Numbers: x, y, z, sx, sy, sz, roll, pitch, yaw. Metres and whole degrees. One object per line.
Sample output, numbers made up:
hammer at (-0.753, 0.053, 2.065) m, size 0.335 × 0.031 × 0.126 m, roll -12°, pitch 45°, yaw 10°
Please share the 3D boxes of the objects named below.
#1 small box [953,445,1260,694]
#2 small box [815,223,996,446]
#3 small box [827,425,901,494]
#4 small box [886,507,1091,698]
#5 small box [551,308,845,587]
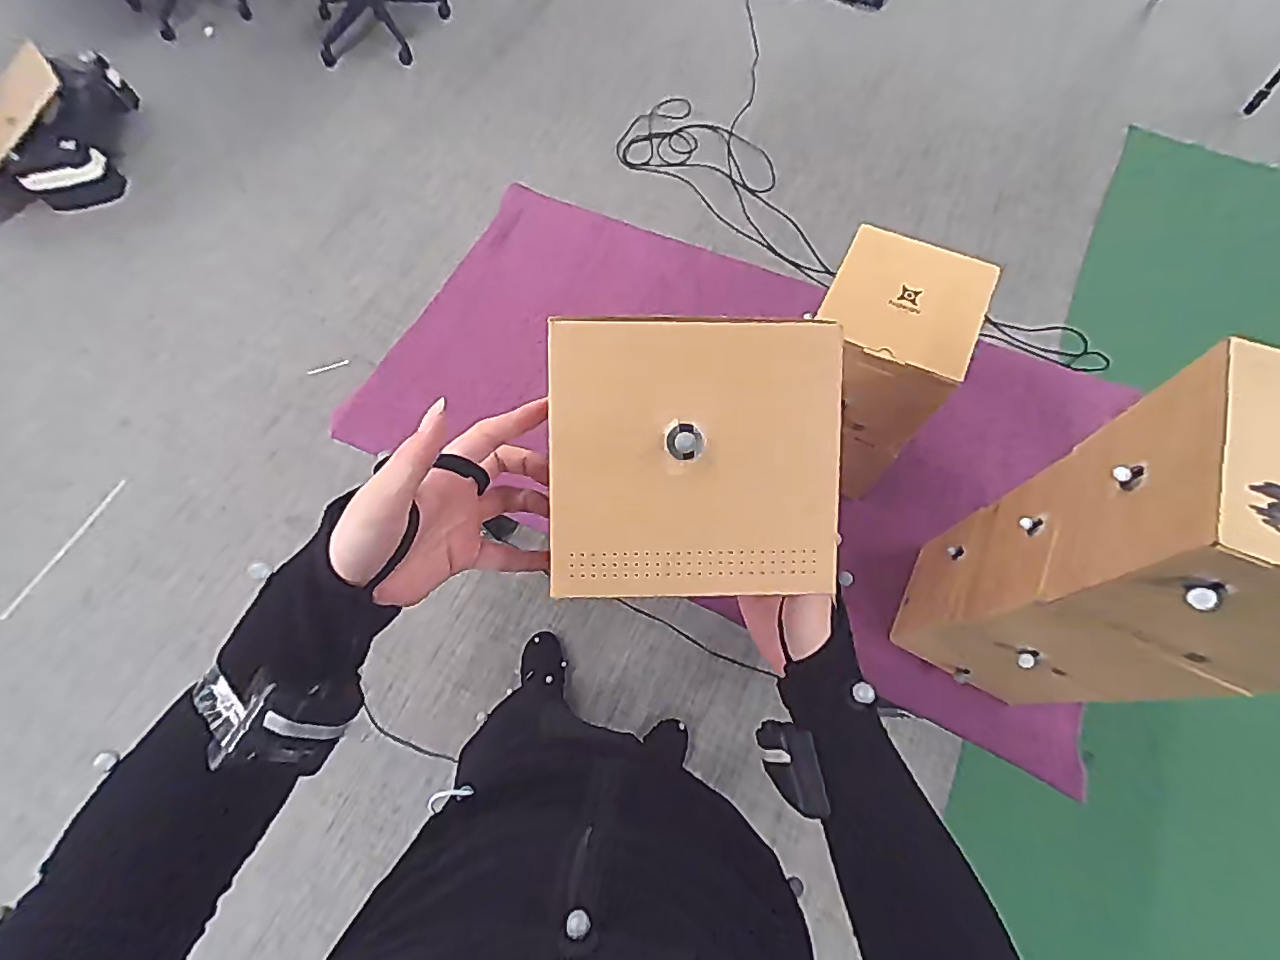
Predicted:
small box at (0.462, 0.100, 0.561) m, size 0.168 × 0.176 × 0.179 m, roll 27°, pitch 70°, yaw 14°
small box at (0.300, -0.174, 0.681) m, size 0.168 × 0.176 × 0.179 m, roll 25°, pitch 71°, yaw 11°
small box at (0.310, -0.109, 0.830) m, size 0.168 × 0.176 × 0.179 m, roll 28°, pitch 71°, yaw 13°
small box at (0.463, 0.166, 0.711) m, size 0.179 × 0.176 × 0.168 m, roll 28°, pitch 70°, yaw 12°
small box at (0.030, -0.021, 0.402) m, size 0.179 × 0.168 × 0.176 m, roll 1°, pitch 94°, yaw -4°
